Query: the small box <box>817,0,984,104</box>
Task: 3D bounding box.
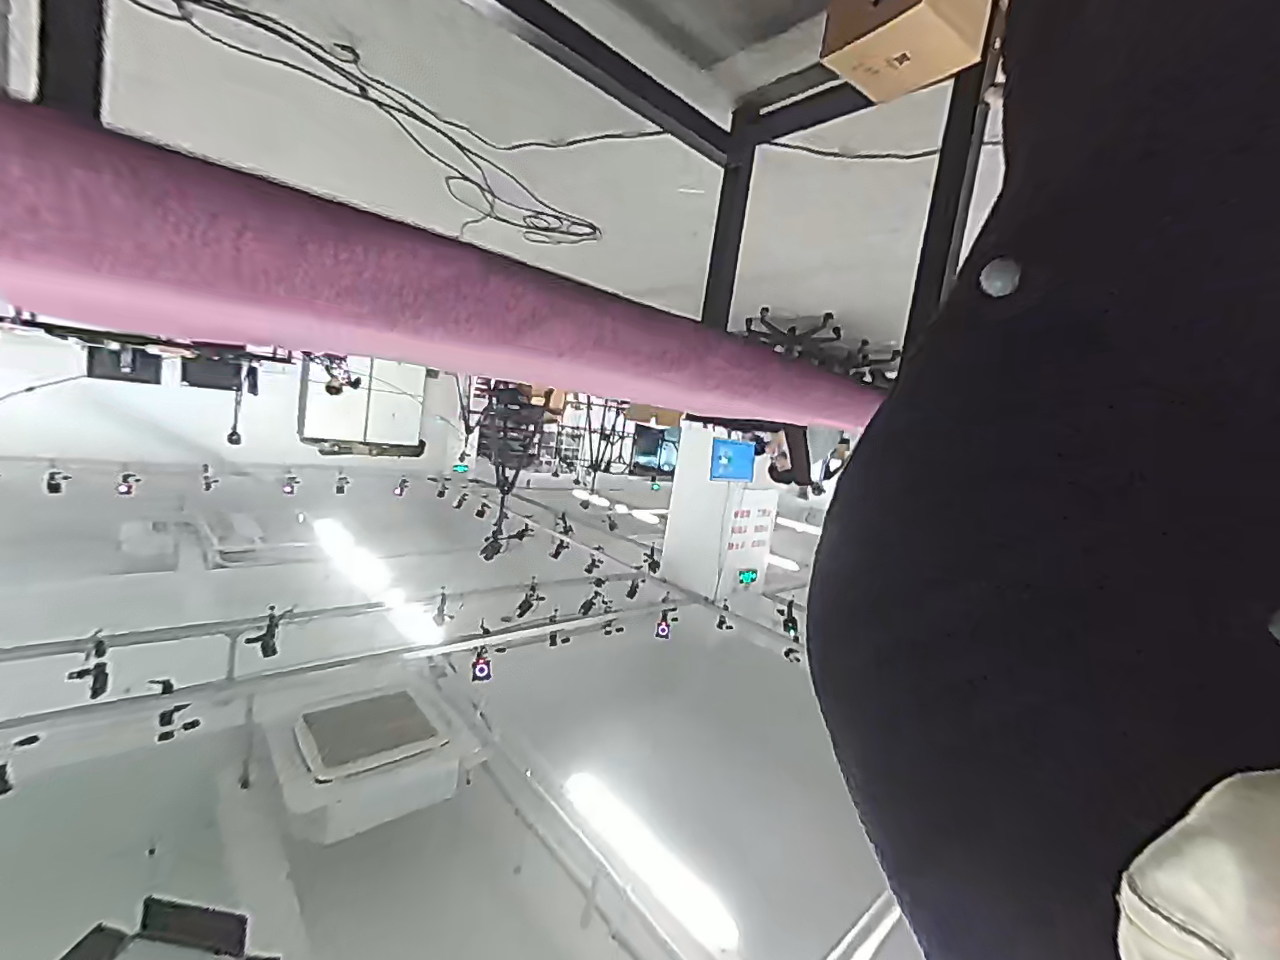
[{"bbox_3d":[0.402,-0.731,0.826,0.168,0.176,0.179,4,-172,-35],"label":"small box"}]
